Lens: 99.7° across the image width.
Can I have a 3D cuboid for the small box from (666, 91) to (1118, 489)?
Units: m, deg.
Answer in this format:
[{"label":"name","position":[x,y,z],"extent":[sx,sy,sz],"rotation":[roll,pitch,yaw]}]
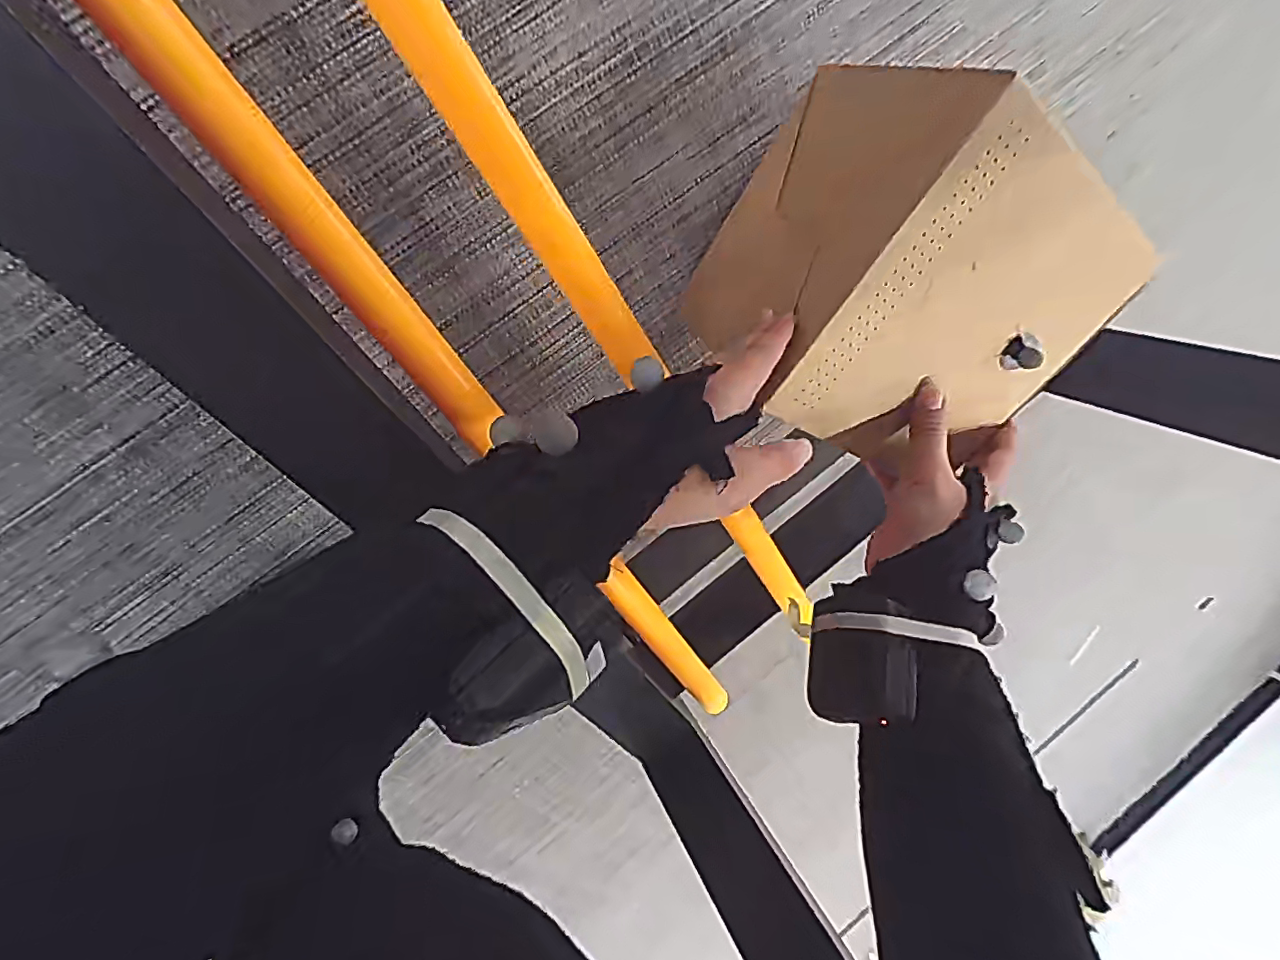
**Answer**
[{"label":"small box","position":[0.146,-0.127,0.364],"extent":[0.176,0.168,0.179],"rotation":[22,118,-30]}]
